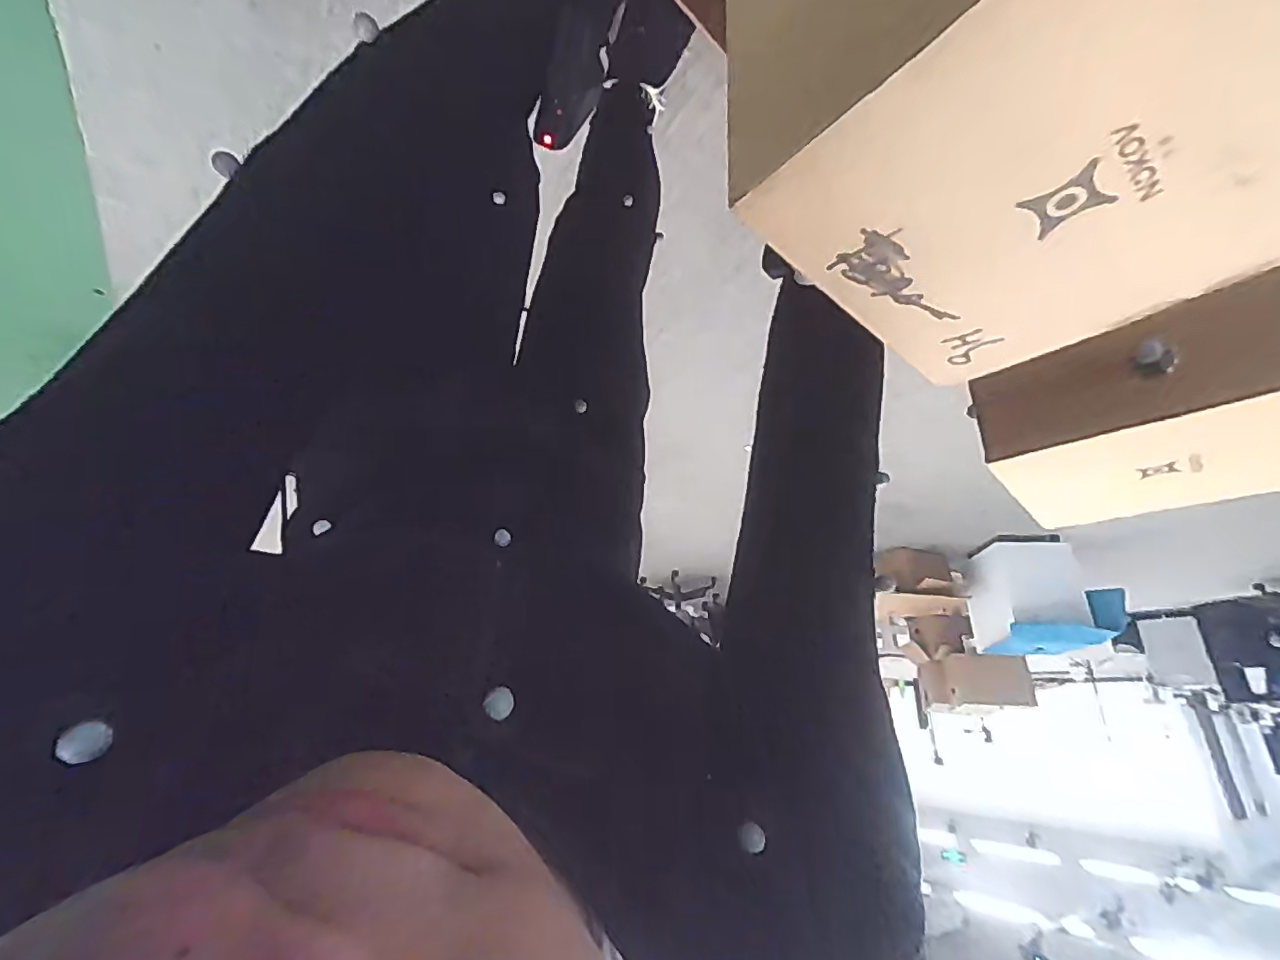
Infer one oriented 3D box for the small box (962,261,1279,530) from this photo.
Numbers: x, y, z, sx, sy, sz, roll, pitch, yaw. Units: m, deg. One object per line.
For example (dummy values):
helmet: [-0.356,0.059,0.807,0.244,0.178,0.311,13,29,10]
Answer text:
small box: [0.353,-0.080,0.398,0.168,0.176,0.179,25,148,-38]
